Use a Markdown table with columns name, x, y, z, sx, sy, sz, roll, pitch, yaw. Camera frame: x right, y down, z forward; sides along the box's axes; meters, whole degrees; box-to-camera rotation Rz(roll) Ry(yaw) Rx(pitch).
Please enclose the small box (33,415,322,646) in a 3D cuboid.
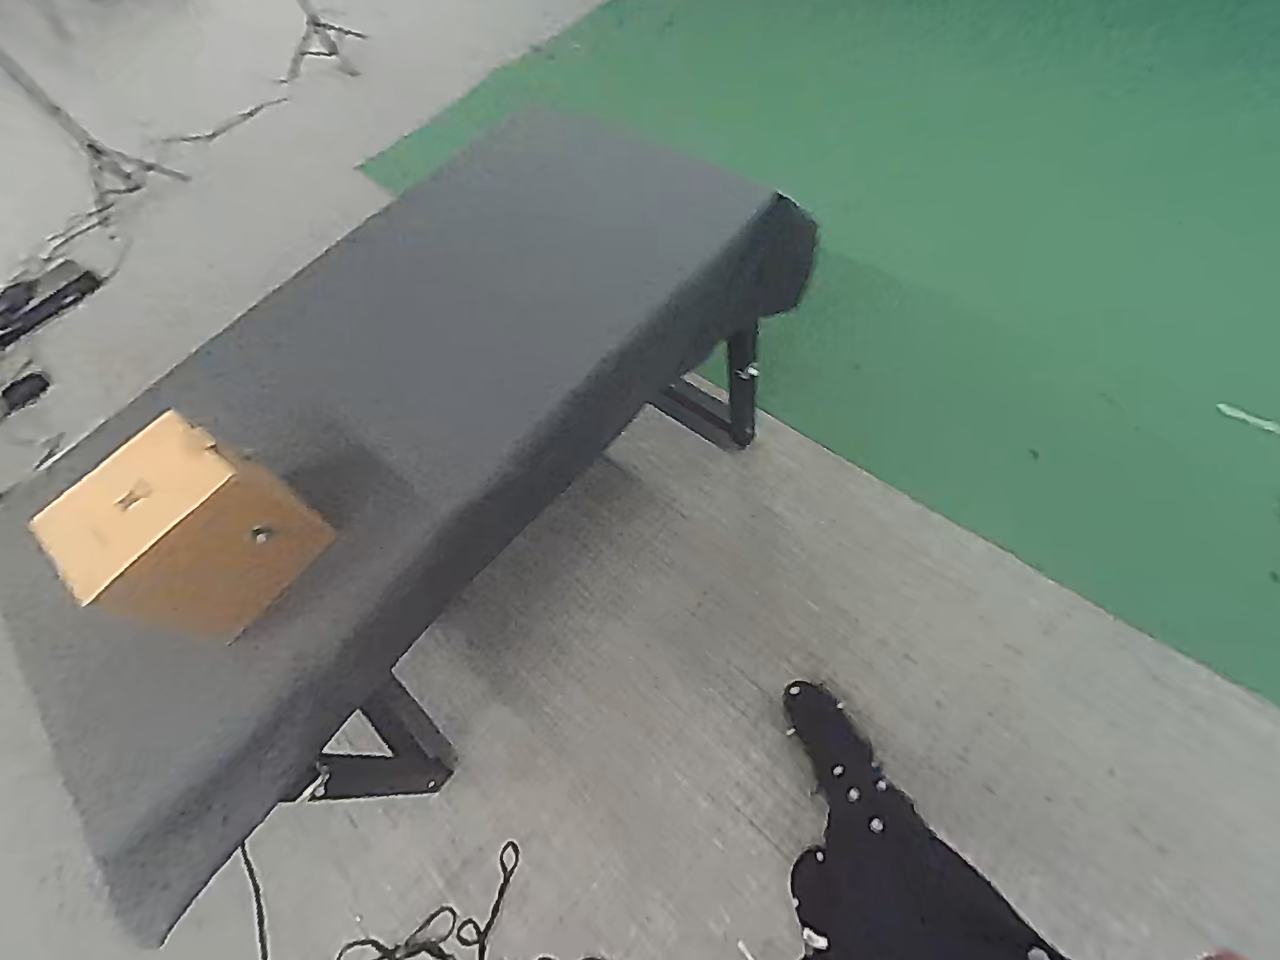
| name | x | y | z | sx | sy | sz | roll | pitch | yaw |
| --- | --- | --- | --- | --- | --- | --- | --- | --- | --- |
| small box | -0.514 | 0.064 | 0.632 | 0.168 | 0.176 | 0.179 | 30 | 71 | 25 |
